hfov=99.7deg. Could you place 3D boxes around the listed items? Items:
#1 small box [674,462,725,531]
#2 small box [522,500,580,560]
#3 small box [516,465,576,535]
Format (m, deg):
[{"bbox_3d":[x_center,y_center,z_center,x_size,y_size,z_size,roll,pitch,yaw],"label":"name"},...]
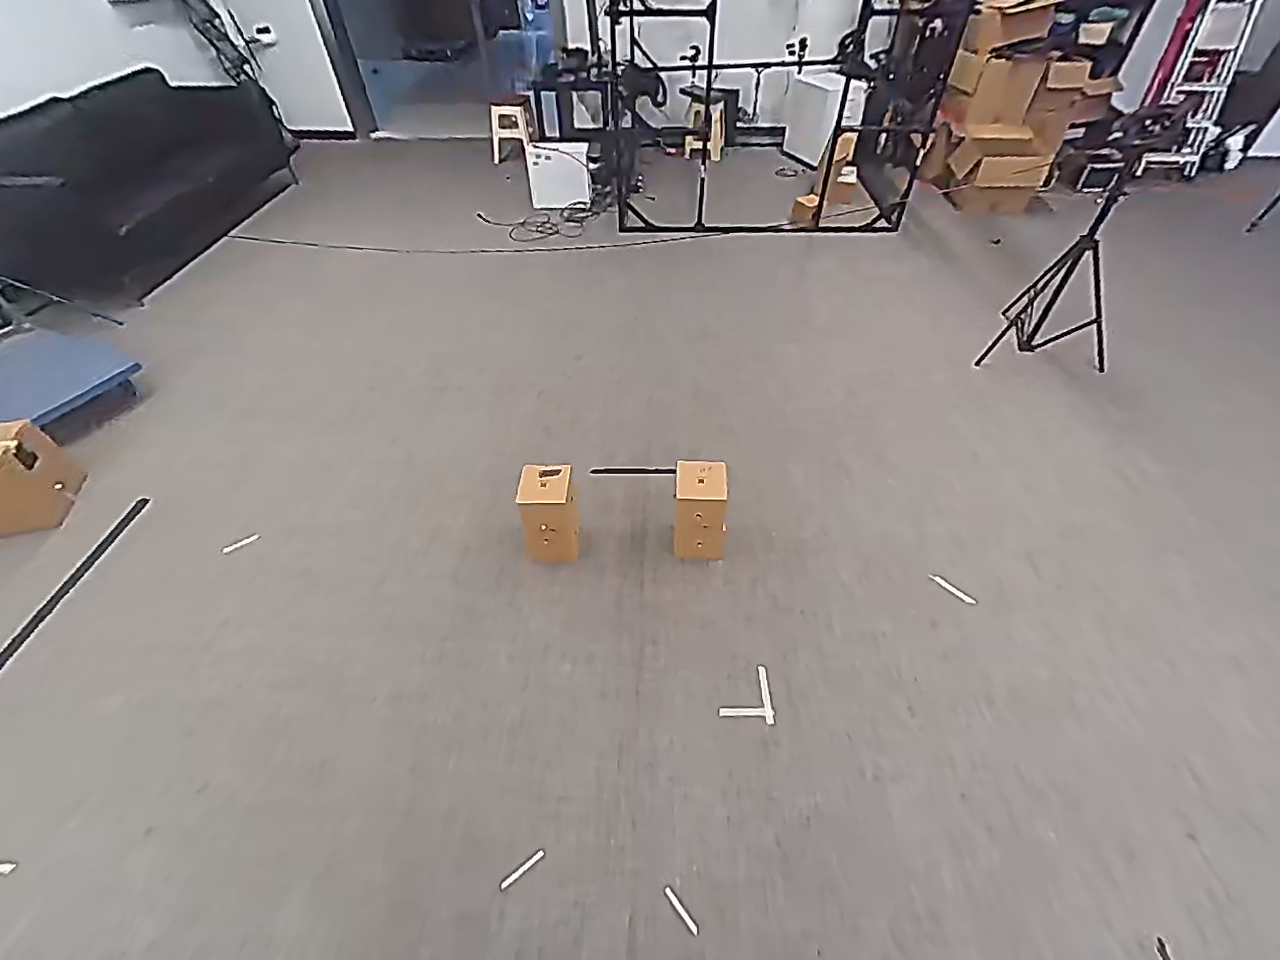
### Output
[{"bbox_3d":[0.203,0.058,1.854,0.168,0.176,0.179,3,47,3],"label":"small box"},{"bbox_3d":[-0.318,0.182,1.975,0.179,0.176,0.168,0,47,2],"label":"small box"},{"bbox_3d":[-0.316,0.067,1.857,0.168,0.176,0.179,0,48,2],"label":"small box"}]
